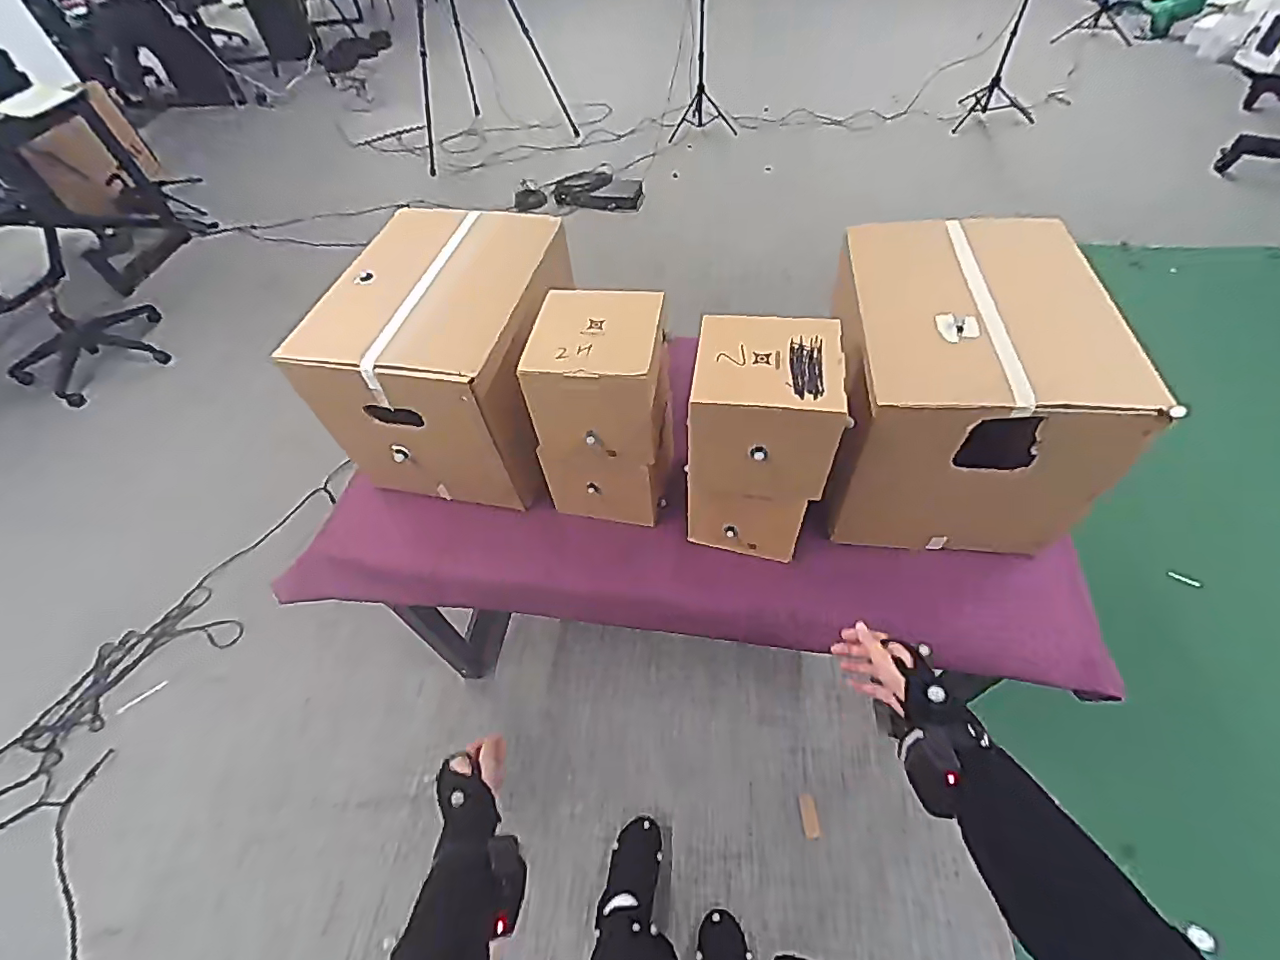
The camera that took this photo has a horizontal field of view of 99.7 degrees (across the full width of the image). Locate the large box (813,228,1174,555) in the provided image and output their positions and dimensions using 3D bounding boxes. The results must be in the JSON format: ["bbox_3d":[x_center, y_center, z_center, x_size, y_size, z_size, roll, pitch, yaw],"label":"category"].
[{"bbox_3d":[0.464,-0.139,0.839,0.320,0.320,0.408,2,54,10],"label":"large box"}]

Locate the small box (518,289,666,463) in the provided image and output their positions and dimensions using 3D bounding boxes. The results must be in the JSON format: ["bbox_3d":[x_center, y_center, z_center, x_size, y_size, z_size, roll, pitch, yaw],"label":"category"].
[{"bbox_3d":[-0.054,-0.147,0.768,0.168,0.176,0.179,4,53,9],"label":"small box"}]
